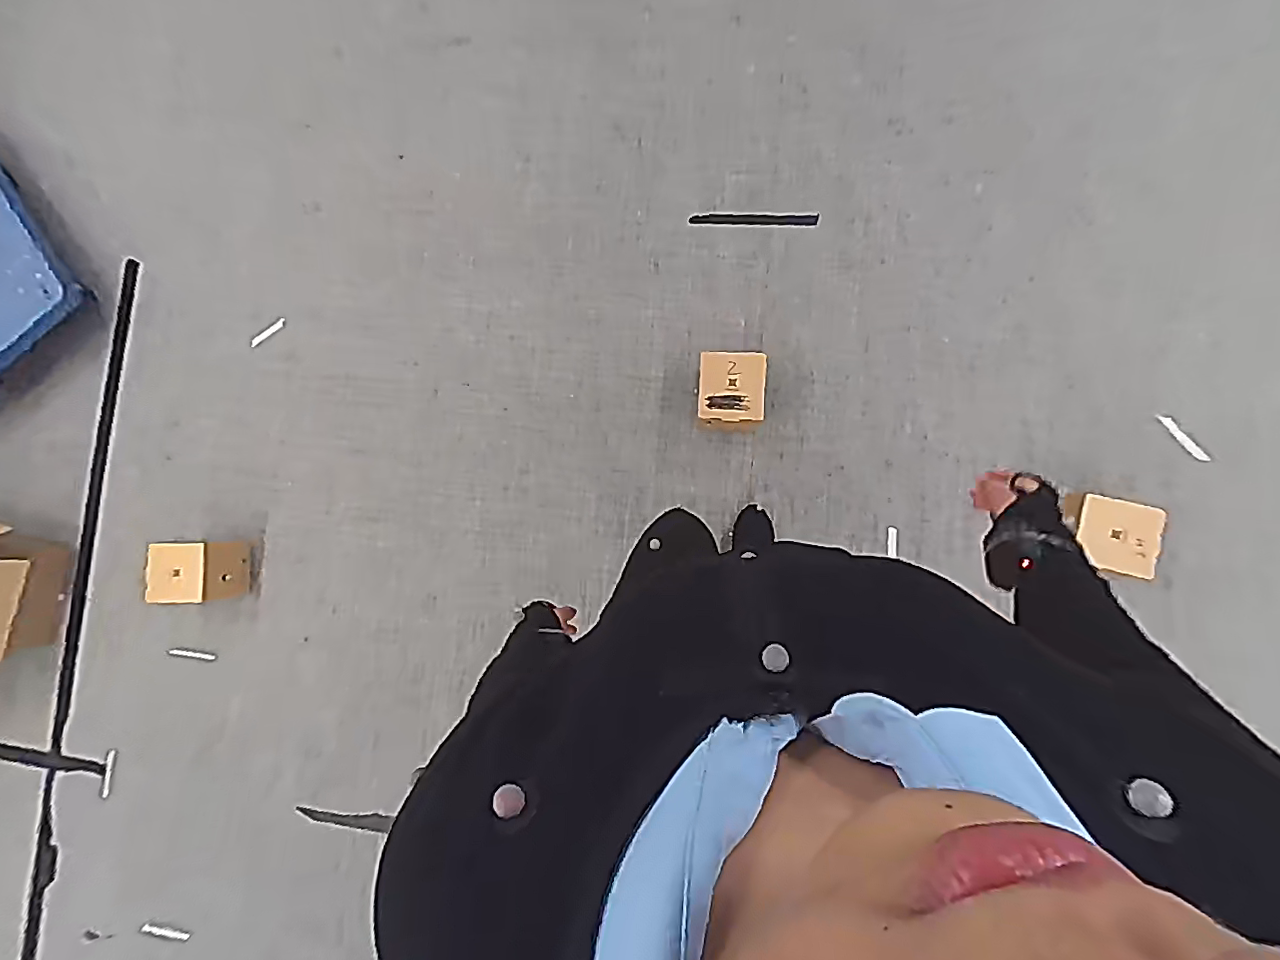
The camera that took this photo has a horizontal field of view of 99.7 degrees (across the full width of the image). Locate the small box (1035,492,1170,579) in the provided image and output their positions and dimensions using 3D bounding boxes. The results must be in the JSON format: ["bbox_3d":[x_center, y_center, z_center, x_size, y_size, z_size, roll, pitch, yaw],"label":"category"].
[{"bbox_3d":[1.111,0.132,1.315,0.179,0.176,0.168,14,88,7],"label":"small box"}]

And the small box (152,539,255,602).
[{"bbox_3d":[-1.267,0.260,1.581,0.179,0.176,0.168,-2,86,7],"label":"small box"}]
